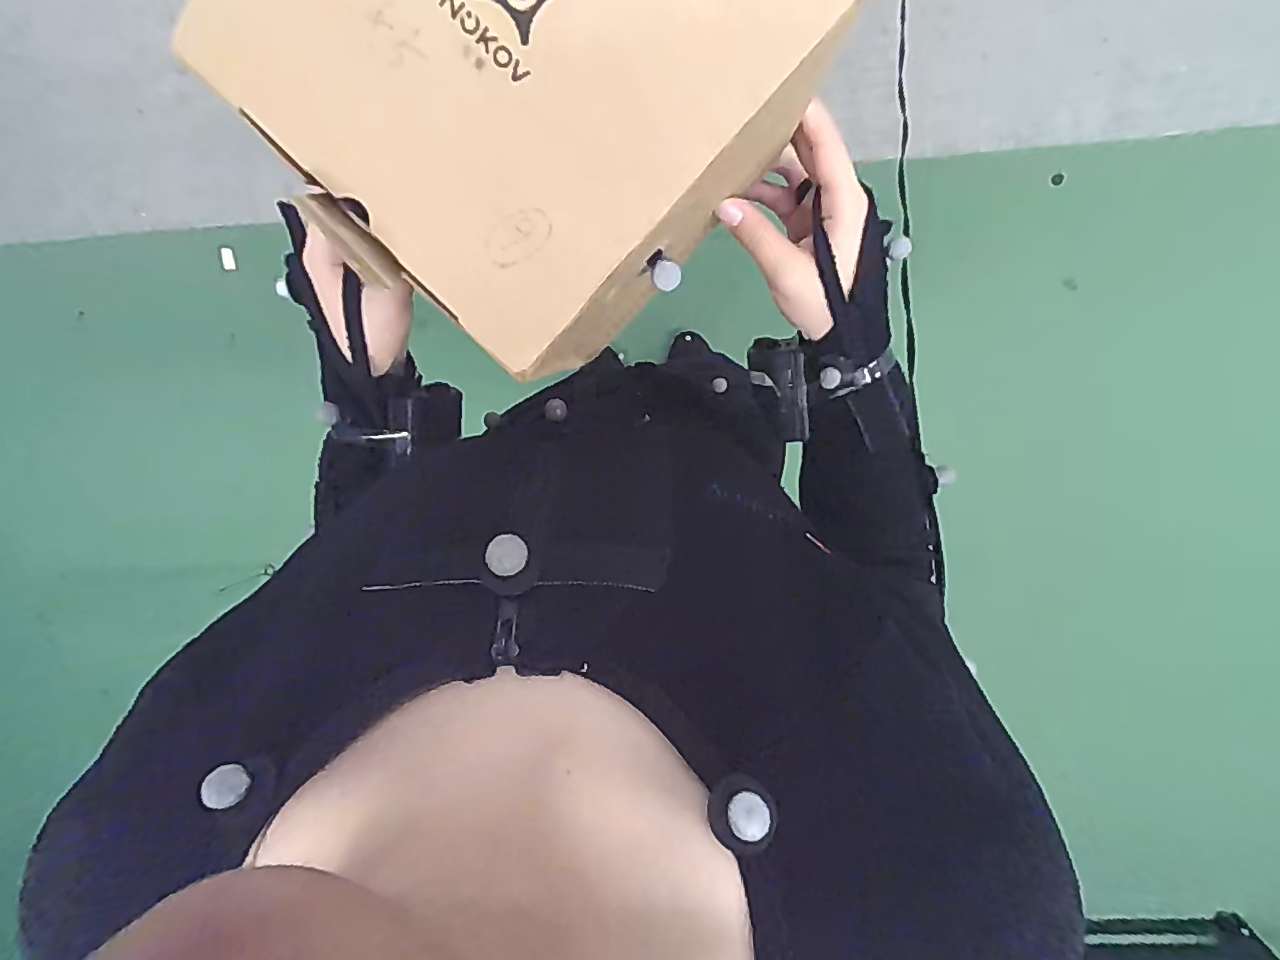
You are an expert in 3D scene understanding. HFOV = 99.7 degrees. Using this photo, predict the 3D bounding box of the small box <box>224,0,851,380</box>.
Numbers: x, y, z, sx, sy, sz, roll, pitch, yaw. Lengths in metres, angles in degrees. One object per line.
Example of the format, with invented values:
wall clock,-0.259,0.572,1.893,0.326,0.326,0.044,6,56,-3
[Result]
small box,-0.036,-0.172,0.271,0.168,0.176,0.179,43,103,-7
